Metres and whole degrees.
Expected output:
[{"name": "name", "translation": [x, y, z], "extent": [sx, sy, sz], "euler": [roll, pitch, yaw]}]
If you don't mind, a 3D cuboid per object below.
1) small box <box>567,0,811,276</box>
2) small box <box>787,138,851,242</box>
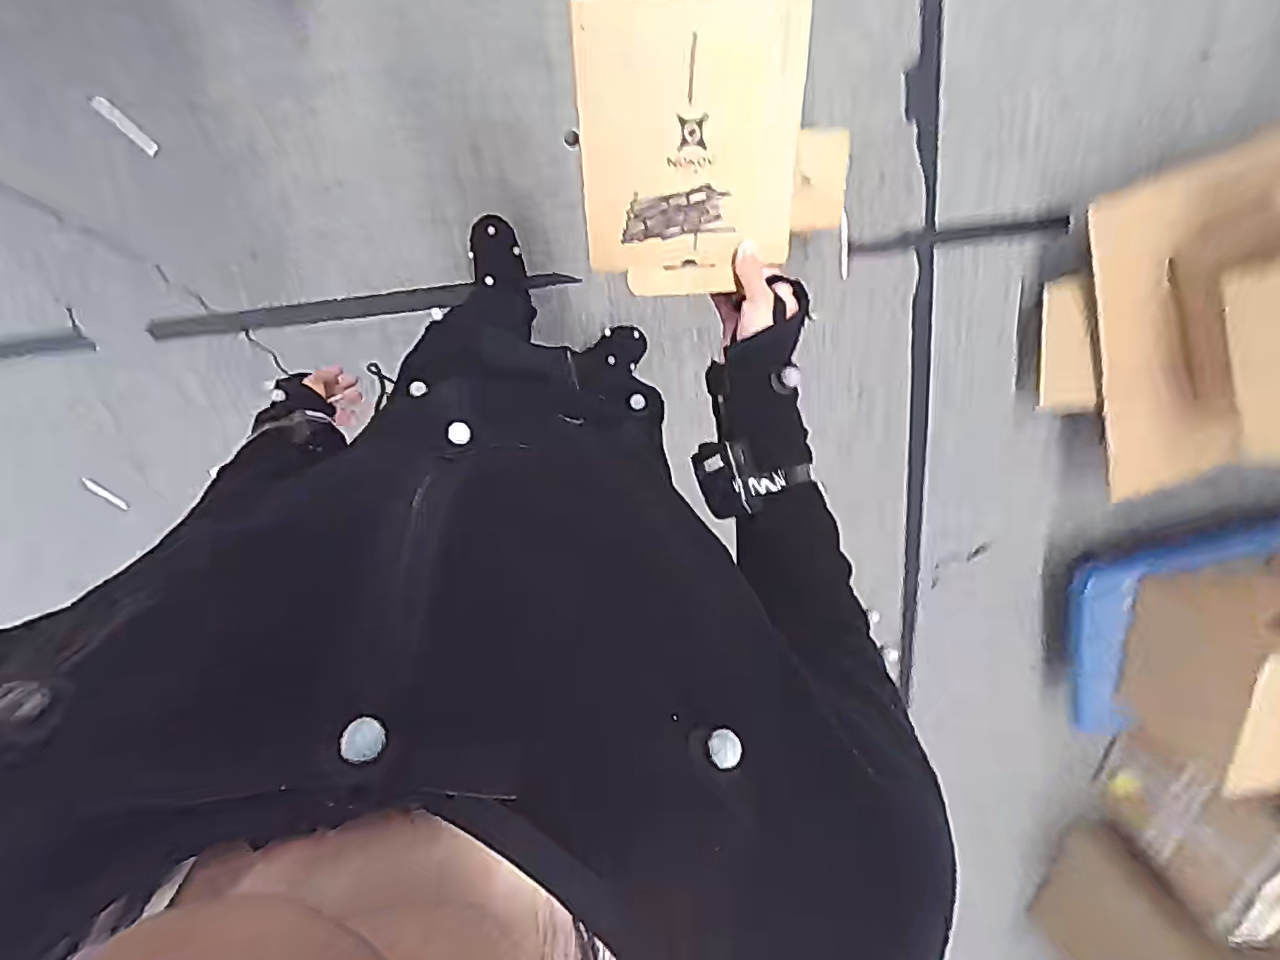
[{"name": "small box", "translation": [0.032, -0.286, 0.467], "extent": [0.168, 0.176, 0.179], "euler": [-4, 120, -2]}, {"name": "small box", "translation": [0.331, -0.612, 1.157], "extent": [0.168, 0.176, 0.179], "euler": [-1, 111, -2]}]
